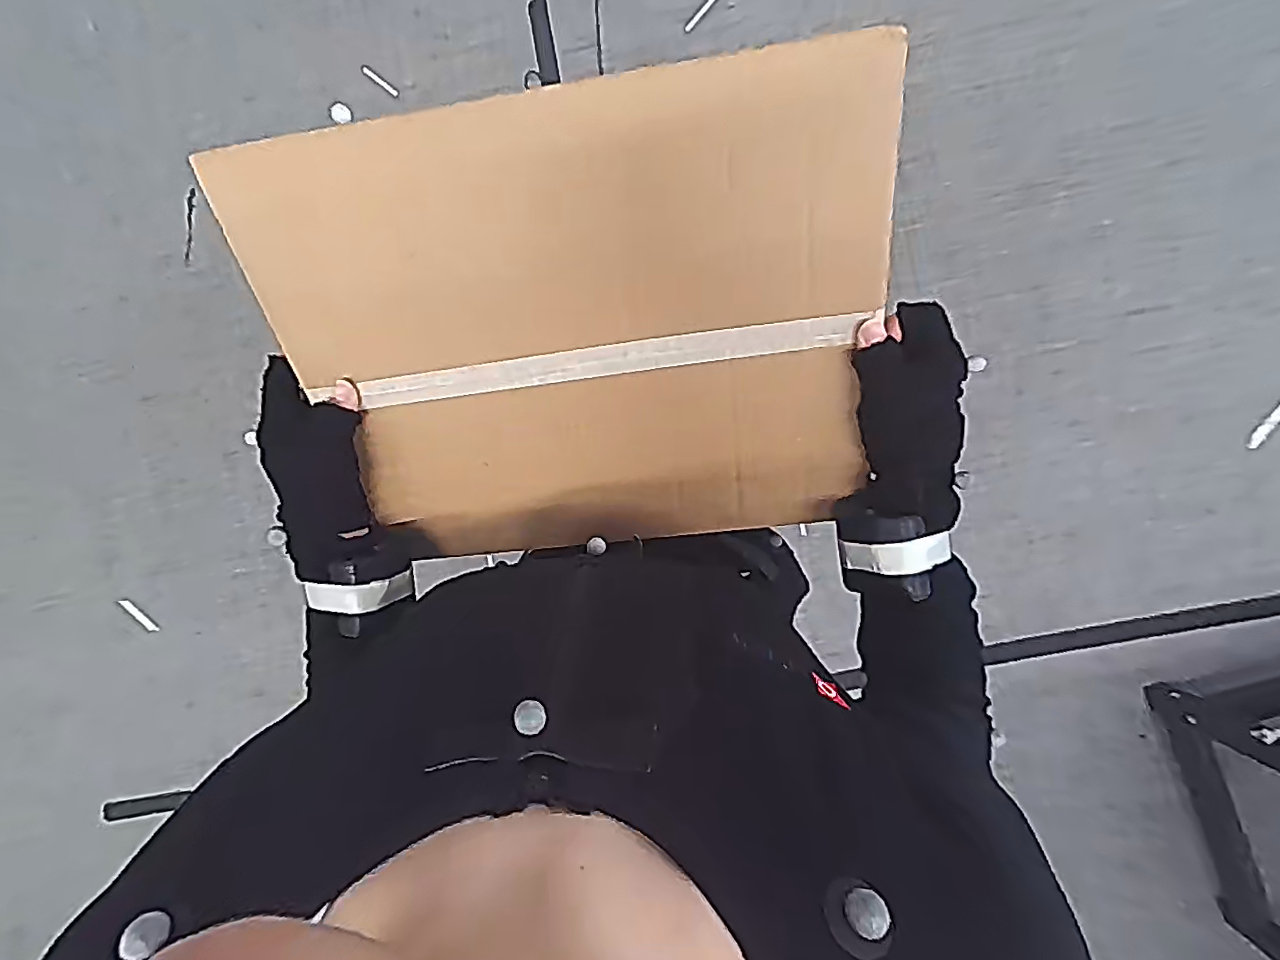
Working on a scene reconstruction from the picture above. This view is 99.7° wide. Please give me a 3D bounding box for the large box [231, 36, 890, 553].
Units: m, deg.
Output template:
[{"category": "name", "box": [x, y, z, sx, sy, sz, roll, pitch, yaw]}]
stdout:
[{"category": "large box", "box": [-0.035, -0.163, 0.514, 0.408, 0.320, 0.320, -6, 122, 6]}]
